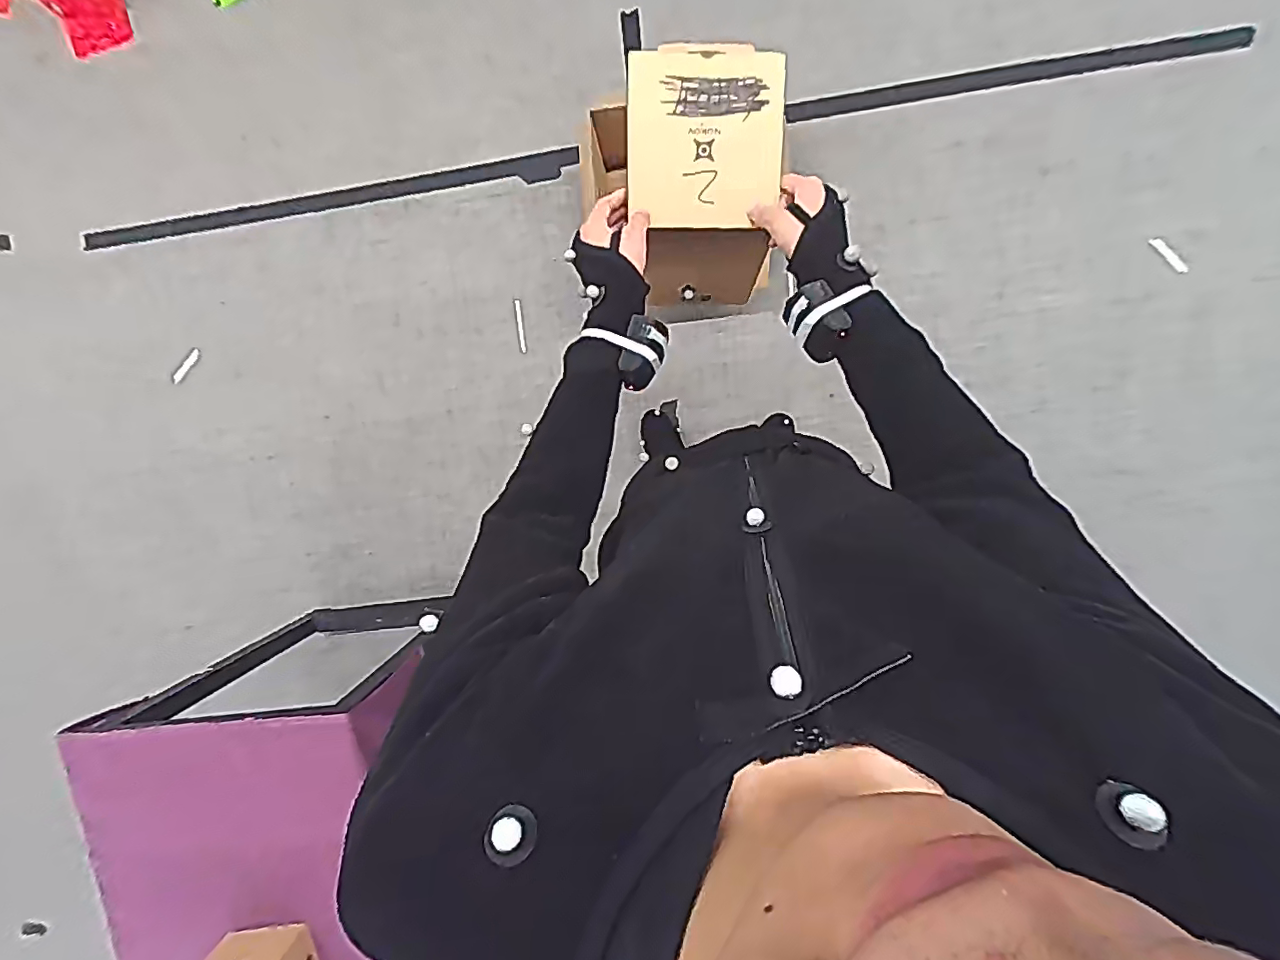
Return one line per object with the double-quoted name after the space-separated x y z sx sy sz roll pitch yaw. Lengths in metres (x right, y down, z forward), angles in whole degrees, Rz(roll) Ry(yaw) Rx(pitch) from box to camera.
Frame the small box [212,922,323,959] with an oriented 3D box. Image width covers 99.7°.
-0.719 0.972 1.001 0.179 0.176 0.168 -12 96 4 "small box"
